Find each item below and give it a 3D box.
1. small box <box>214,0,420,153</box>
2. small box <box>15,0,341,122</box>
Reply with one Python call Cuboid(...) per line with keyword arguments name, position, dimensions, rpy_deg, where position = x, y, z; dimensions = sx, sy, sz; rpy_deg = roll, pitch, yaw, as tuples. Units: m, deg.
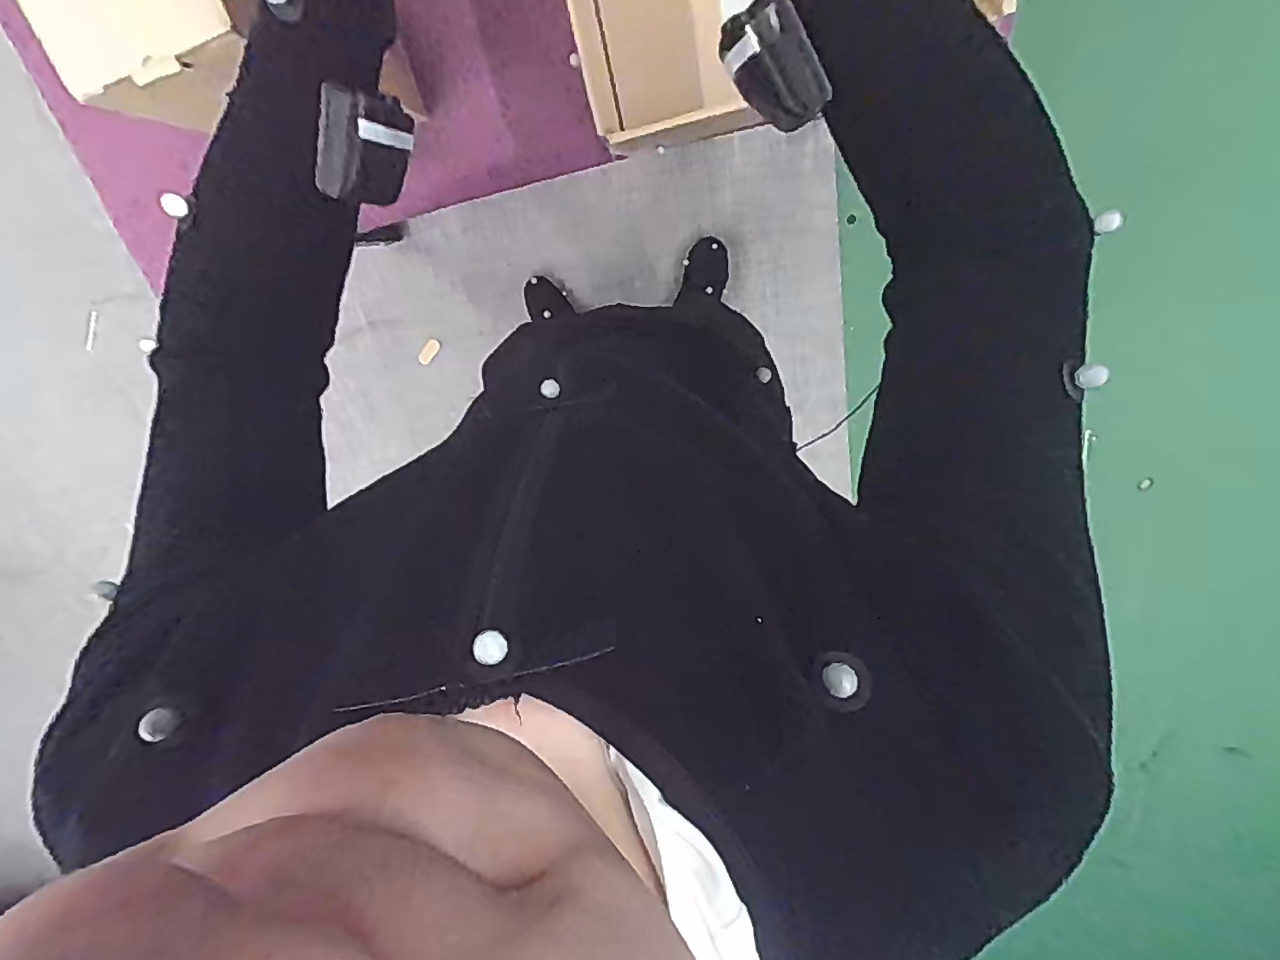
Cuboid(name="small box", position=(-0.395, -0.502, 0.626), dimensions=(0.179, 0.176, 0.168), rpy_deg=(-13, 112, 9))
Cuboid(name="small box", position=(-0.408, -0.440, 0.475), dimensions=(0.168, 0.176, 0.179), rpy_deg=(-12, 113, 9))
